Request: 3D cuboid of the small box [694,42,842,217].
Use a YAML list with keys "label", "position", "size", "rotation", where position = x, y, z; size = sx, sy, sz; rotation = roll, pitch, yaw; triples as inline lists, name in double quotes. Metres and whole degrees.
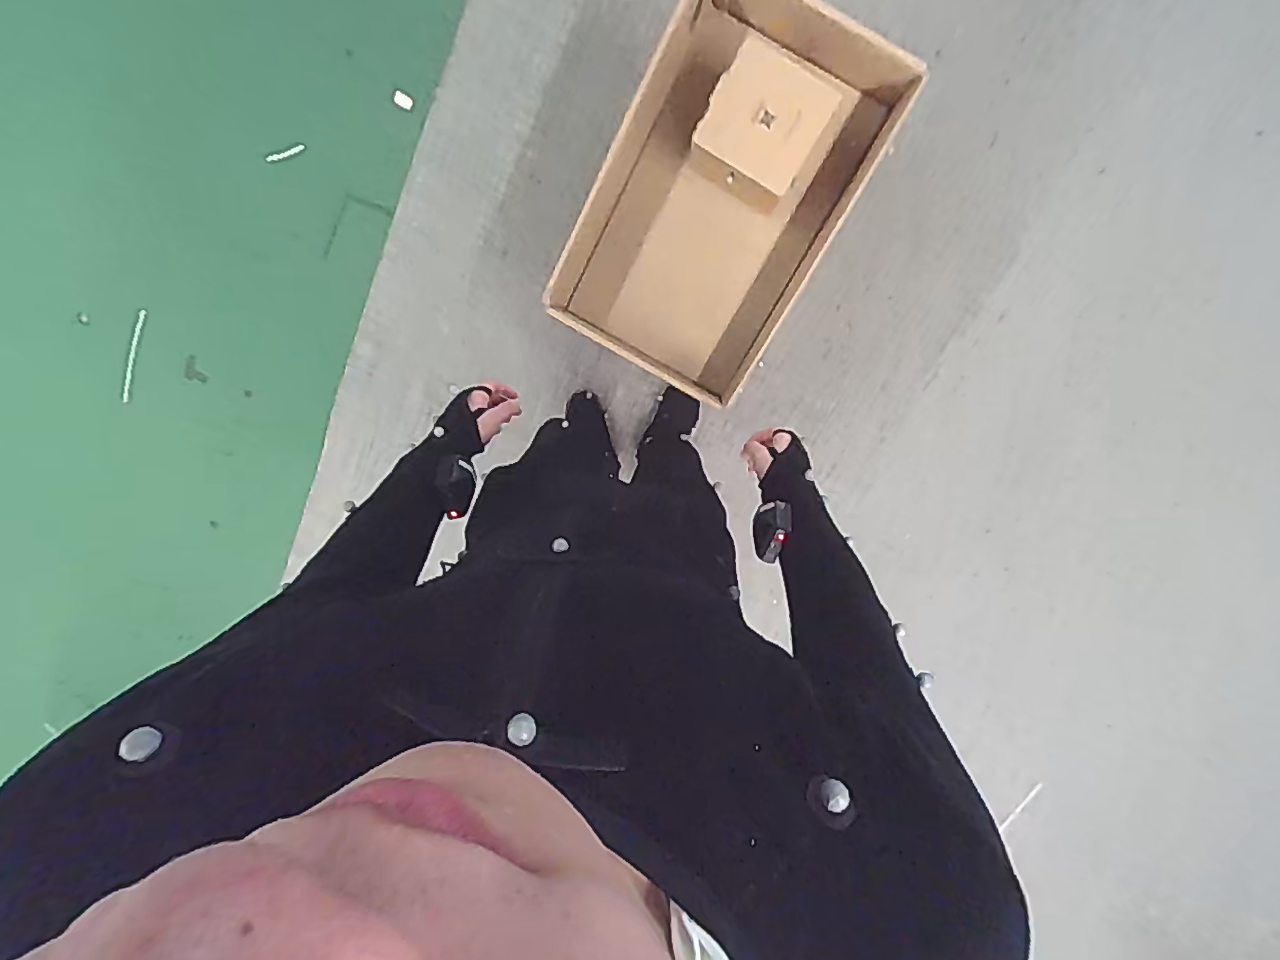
- label: "small box"
  position: [0.205, -0.581, 0.928]
  size: [0.179, 0.176, 0.168]
  rotation: [31, 105, -4]
